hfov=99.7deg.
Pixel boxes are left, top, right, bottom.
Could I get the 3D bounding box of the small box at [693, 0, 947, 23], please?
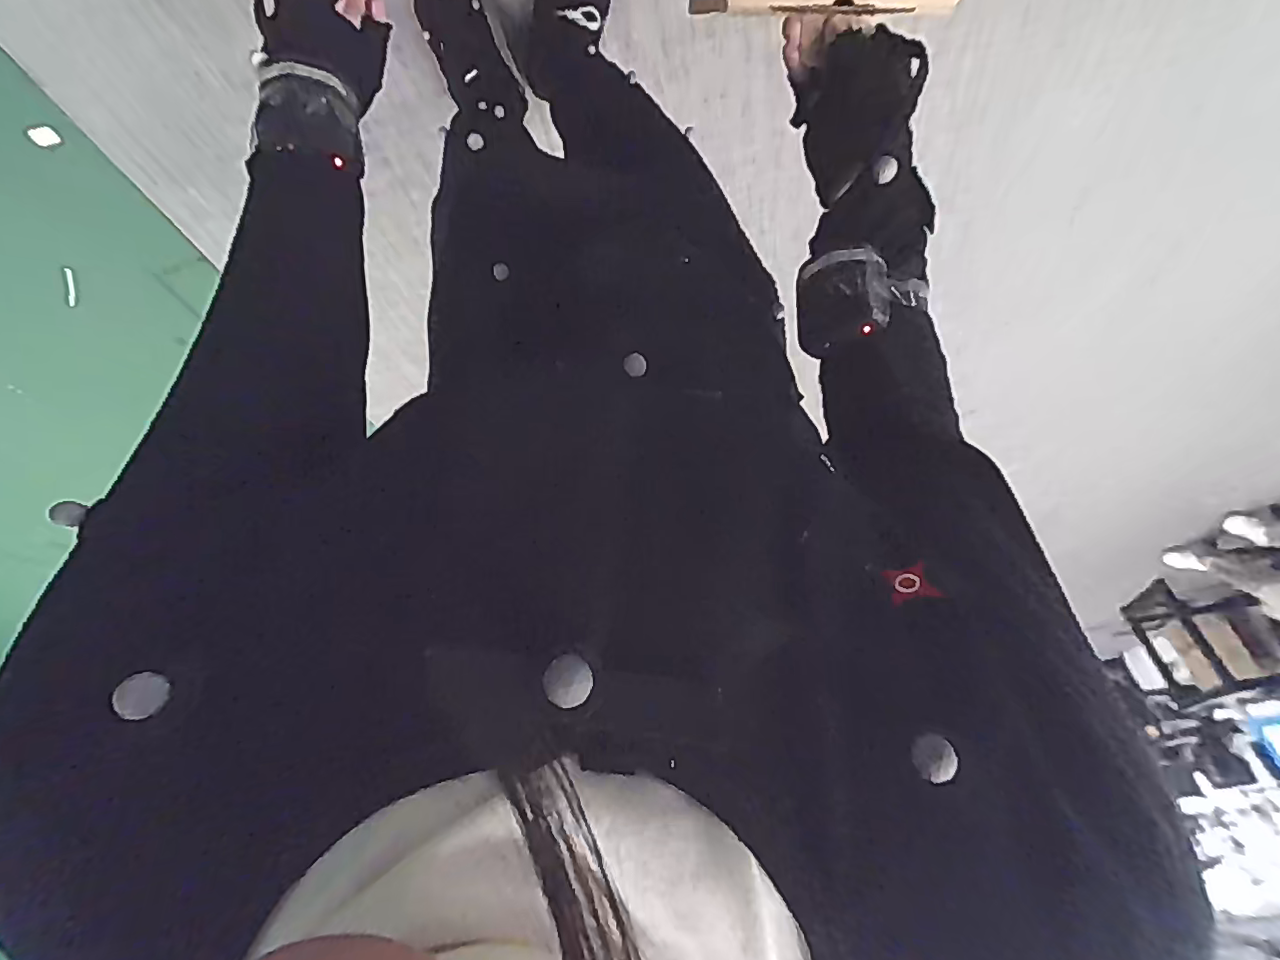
[{"bbox_3d":[0.129,-0.443,0.384,0.168,0.176,0.179,-4,130,-5],"label":"small box"}]
